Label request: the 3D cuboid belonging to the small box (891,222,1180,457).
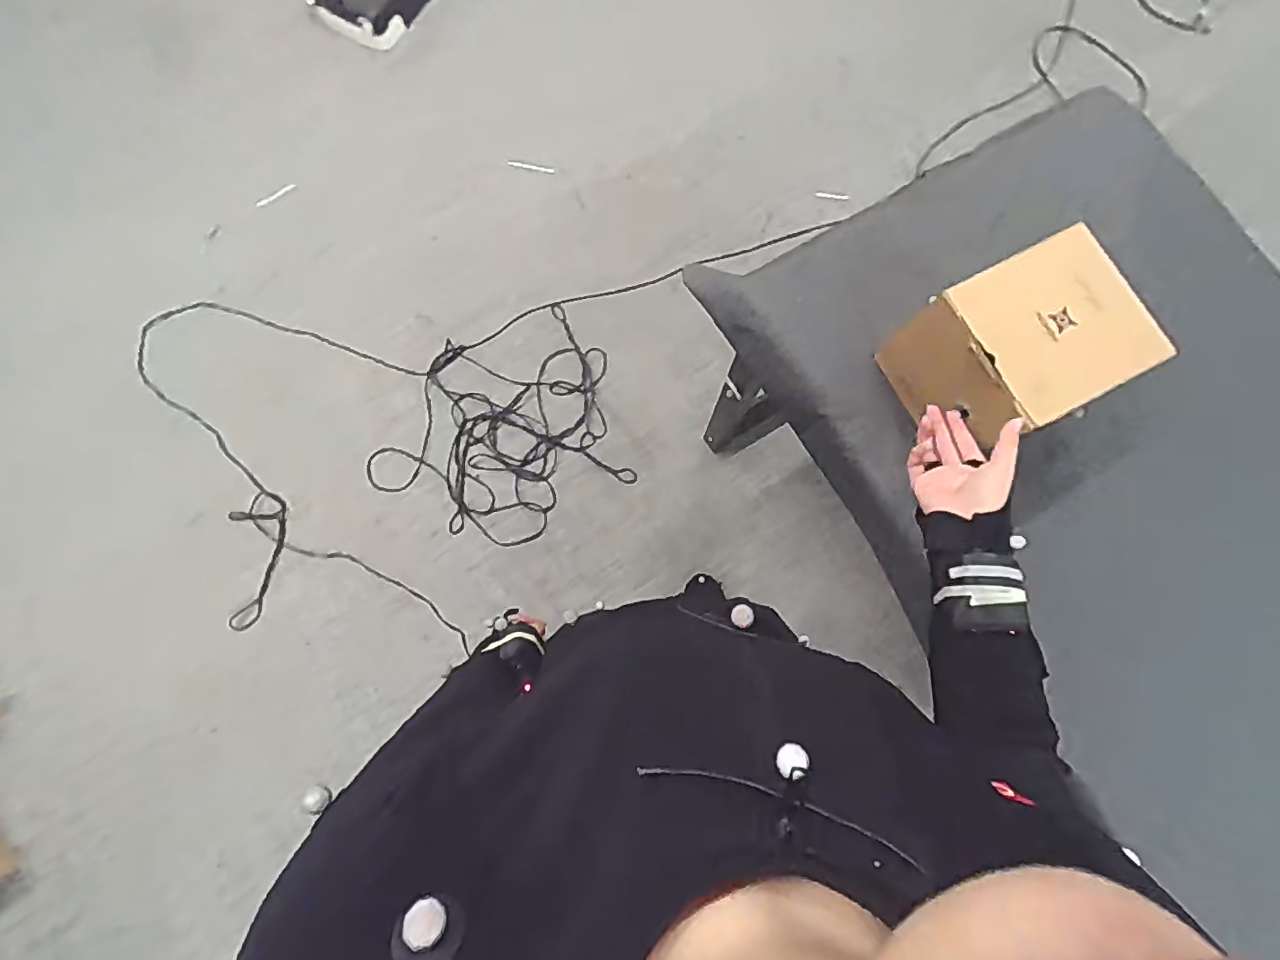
[{"bbox_3d":[0.419,-0.144,0.615,0.179,0.176,0.168,-27,82,-6],"label":"small box"}]
